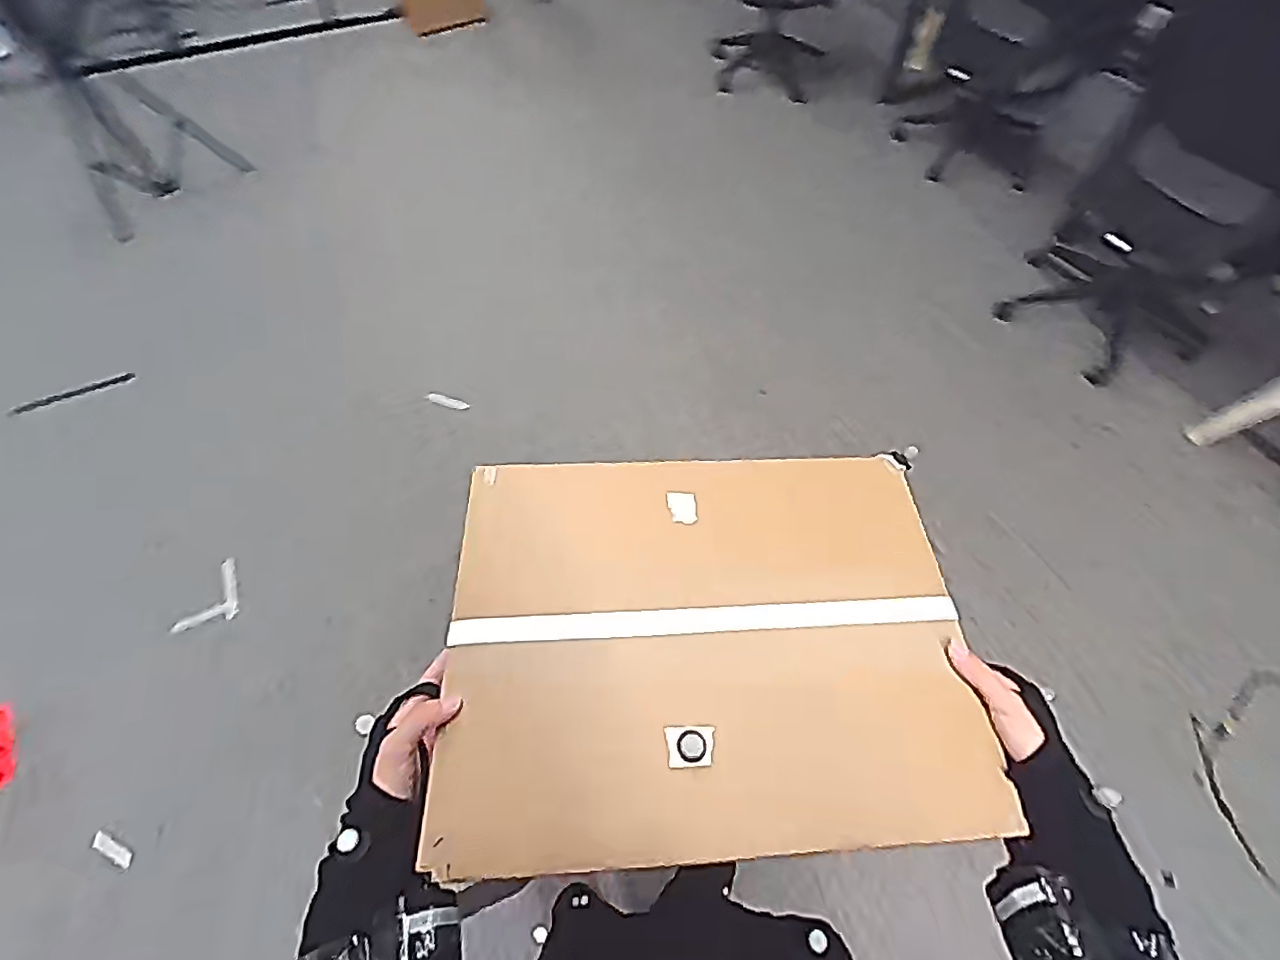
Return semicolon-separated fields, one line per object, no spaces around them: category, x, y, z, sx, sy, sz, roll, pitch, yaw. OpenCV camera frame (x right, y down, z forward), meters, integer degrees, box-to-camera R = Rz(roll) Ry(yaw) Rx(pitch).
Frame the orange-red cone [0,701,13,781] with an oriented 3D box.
orange-red cone;-1.554;0.549;1.092;0.198;0.360;0.199;-28;62;-16
